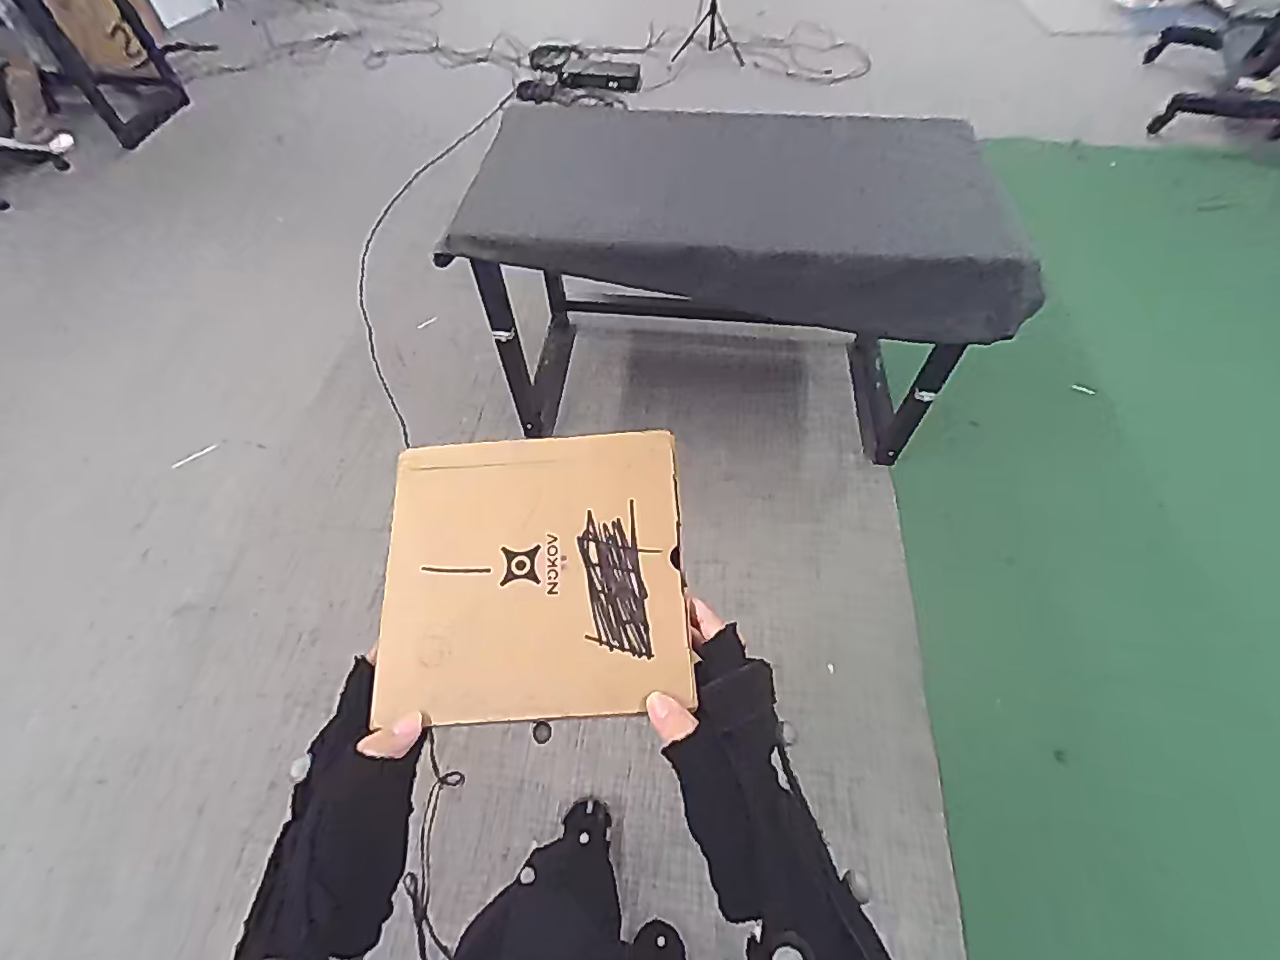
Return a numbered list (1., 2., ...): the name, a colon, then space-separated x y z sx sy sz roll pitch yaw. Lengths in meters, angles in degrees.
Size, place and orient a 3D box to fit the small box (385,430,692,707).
1. small box: -0.061 0.074 0.406 0.179 0.176 0.168 -4 69 0
